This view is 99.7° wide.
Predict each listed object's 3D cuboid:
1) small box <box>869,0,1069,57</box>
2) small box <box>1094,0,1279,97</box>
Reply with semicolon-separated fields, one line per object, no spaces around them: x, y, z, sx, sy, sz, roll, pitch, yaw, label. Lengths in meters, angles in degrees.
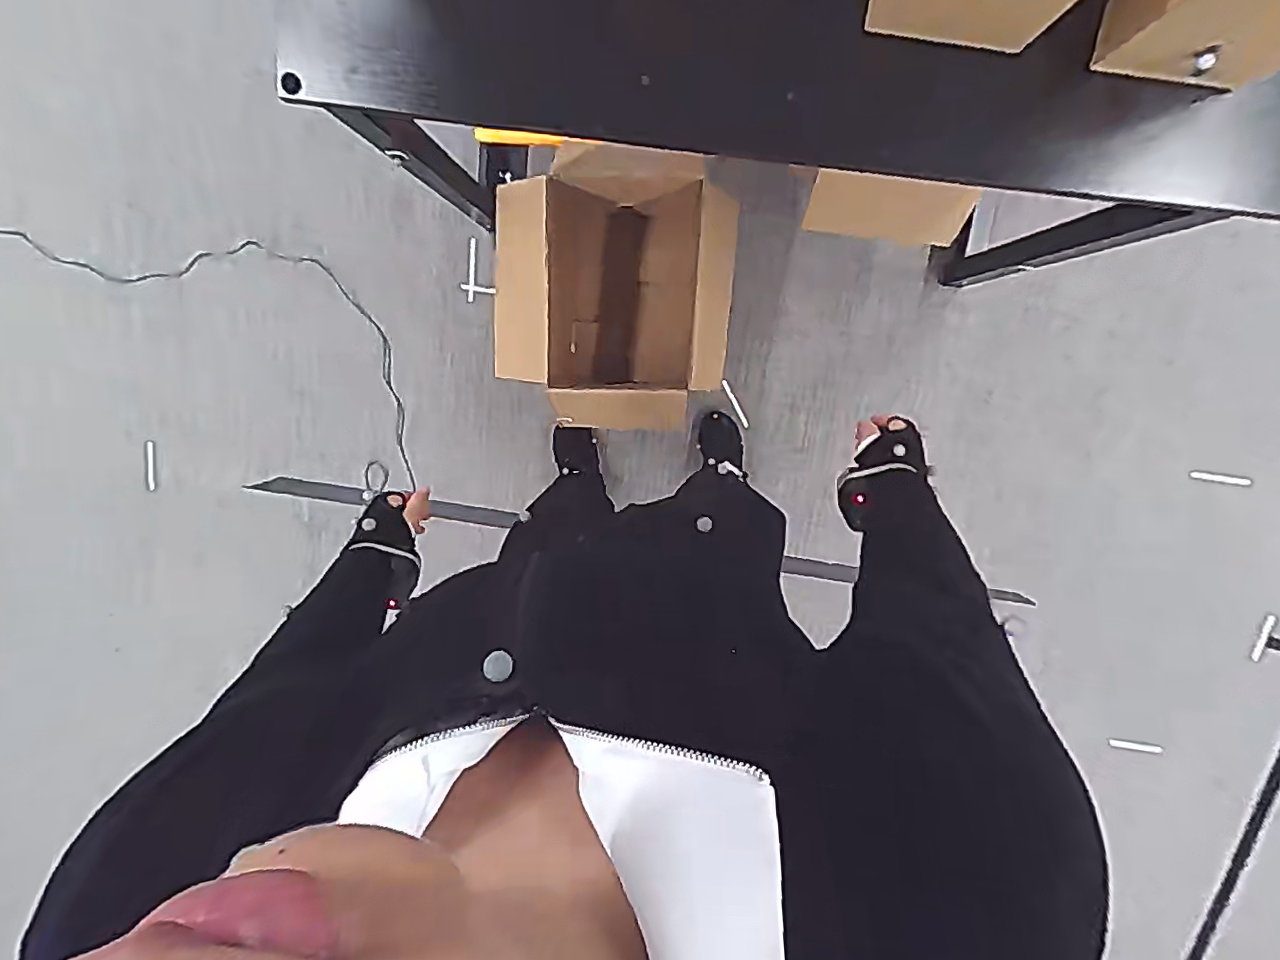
0.342;-0.543;0.508;0.179;0.176;0.168;10;101;0;small box
0.584;-0.506;0.506;0.168;0.176;0.179;10;102;2;small box
